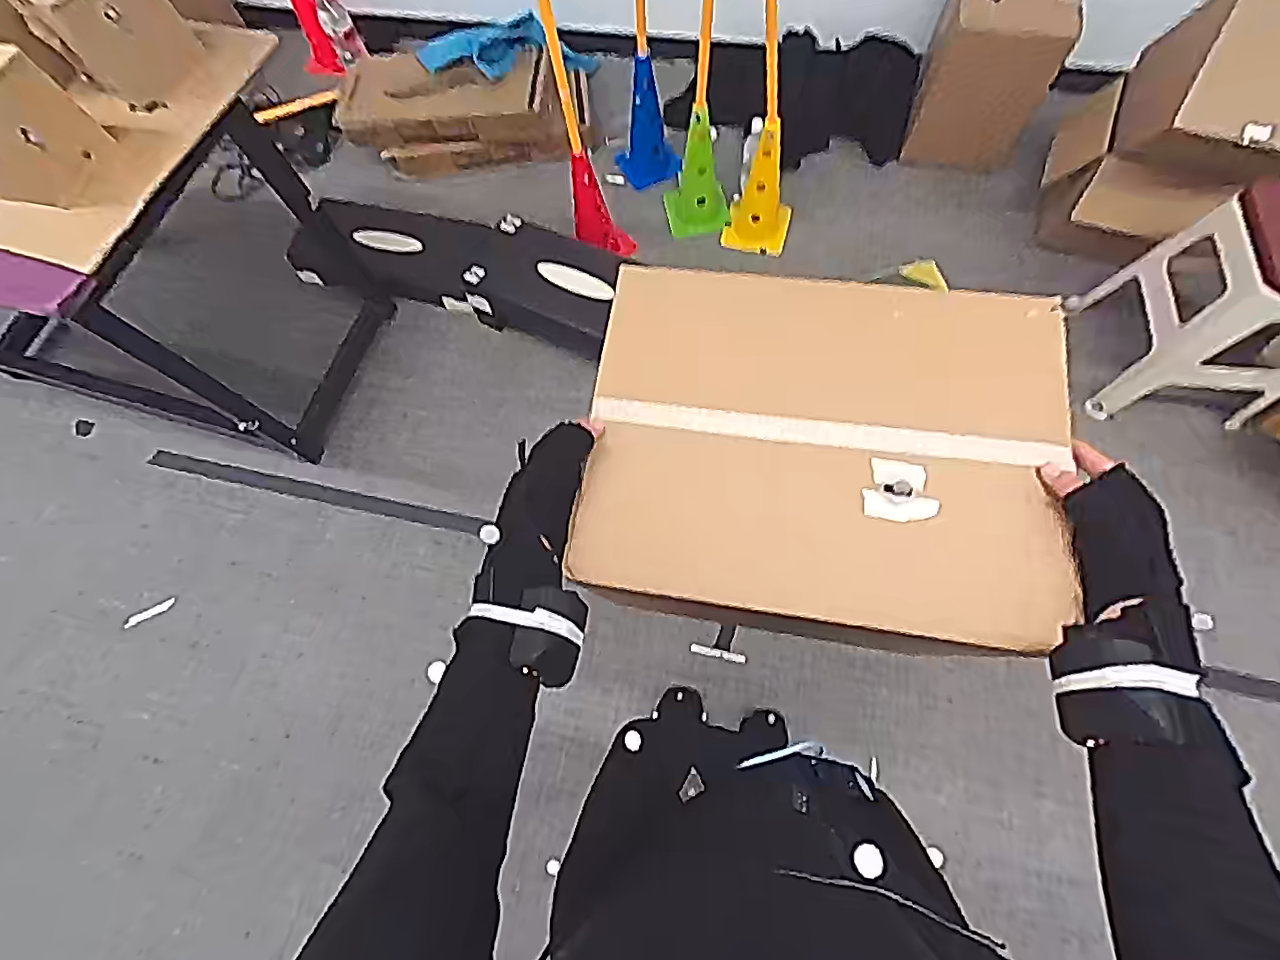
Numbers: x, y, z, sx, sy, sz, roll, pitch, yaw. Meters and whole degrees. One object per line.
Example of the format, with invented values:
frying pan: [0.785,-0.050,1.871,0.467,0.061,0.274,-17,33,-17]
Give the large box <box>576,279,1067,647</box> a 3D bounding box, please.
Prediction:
large box: [0.169,0.005,0.625,0.408,0.320,0.320,8,75,7]
